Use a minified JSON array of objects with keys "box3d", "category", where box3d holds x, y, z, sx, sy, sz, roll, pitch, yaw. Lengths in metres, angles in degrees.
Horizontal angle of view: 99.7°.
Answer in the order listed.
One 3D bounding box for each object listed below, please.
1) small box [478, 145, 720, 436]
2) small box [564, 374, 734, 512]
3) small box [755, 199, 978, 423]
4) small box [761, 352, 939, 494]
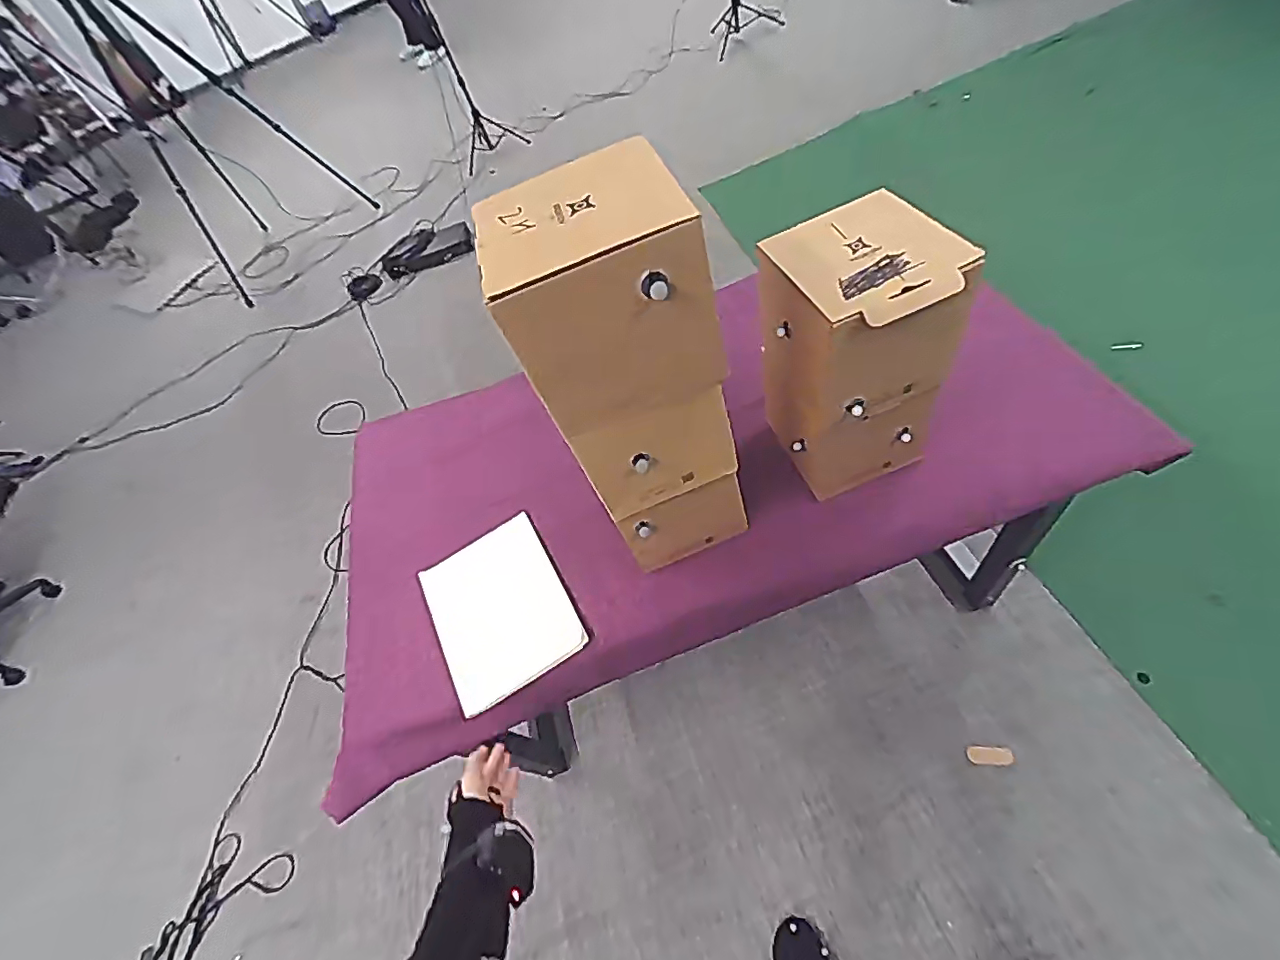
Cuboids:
[{"box3d":[-0.032,-0.173,0.516,0.179,0.176,0.168,-21,51,4],"category":"small box"},{"box3d":[0.001,-0.082,0.650,0.168,0.176,0.179,-22,51,2],"category":"small box"},{"box3d":[0.255,-0.191,0.645,0.168,0.176,0.179,-23,51,0],"category":"small box"},{"box3d":[0.290,-0.101,0.777,0.168,0.176,0.179,-22,52,1],"category":"small box"}]
